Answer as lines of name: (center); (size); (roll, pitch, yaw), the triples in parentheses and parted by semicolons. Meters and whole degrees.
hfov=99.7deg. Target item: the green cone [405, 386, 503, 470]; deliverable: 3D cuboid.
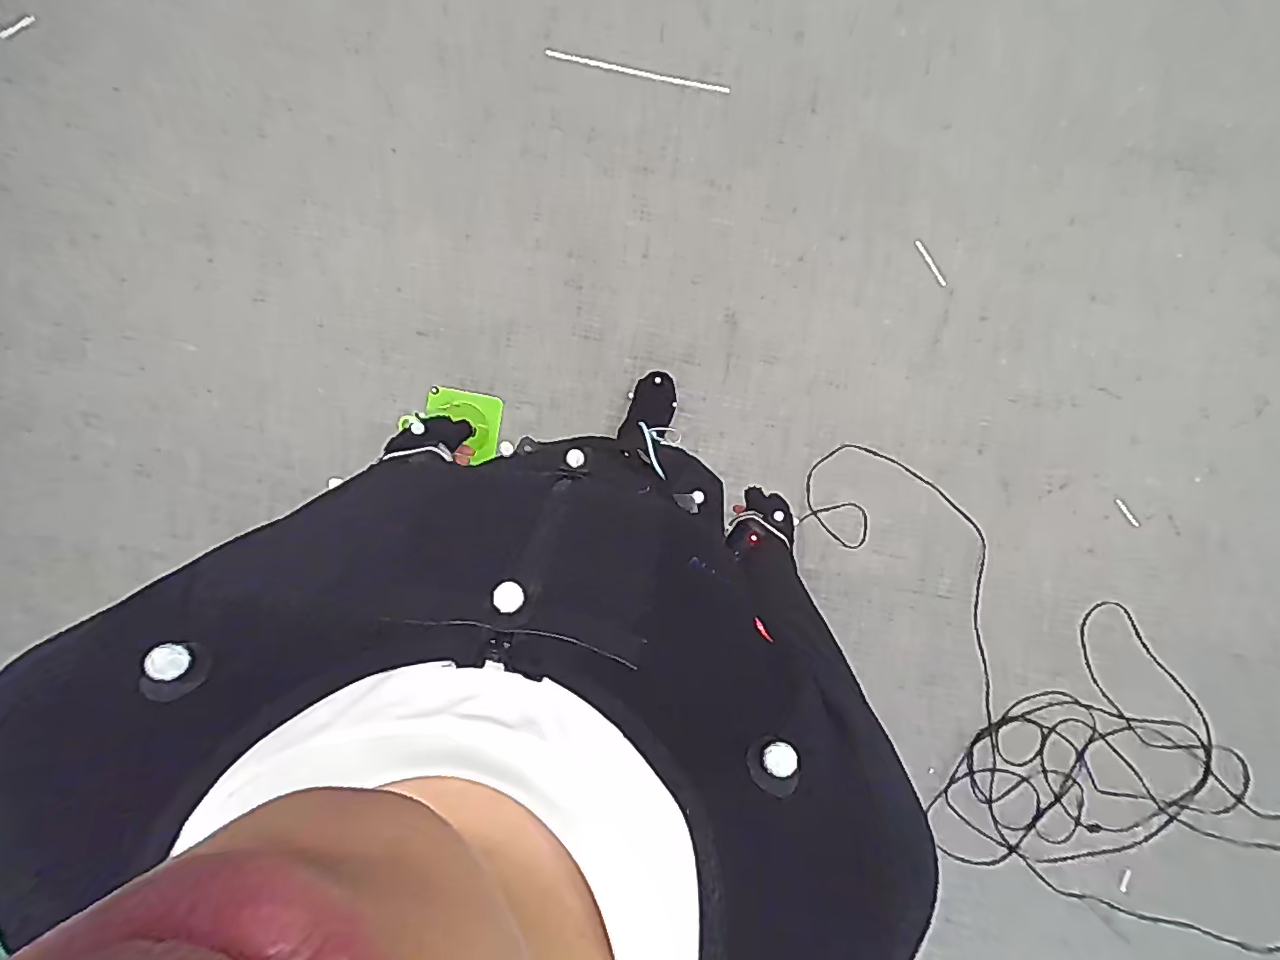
green cone: (-0.471, -0.122, 1.278); (0.202, 0.368, 0.200); (10, 95, -3)
